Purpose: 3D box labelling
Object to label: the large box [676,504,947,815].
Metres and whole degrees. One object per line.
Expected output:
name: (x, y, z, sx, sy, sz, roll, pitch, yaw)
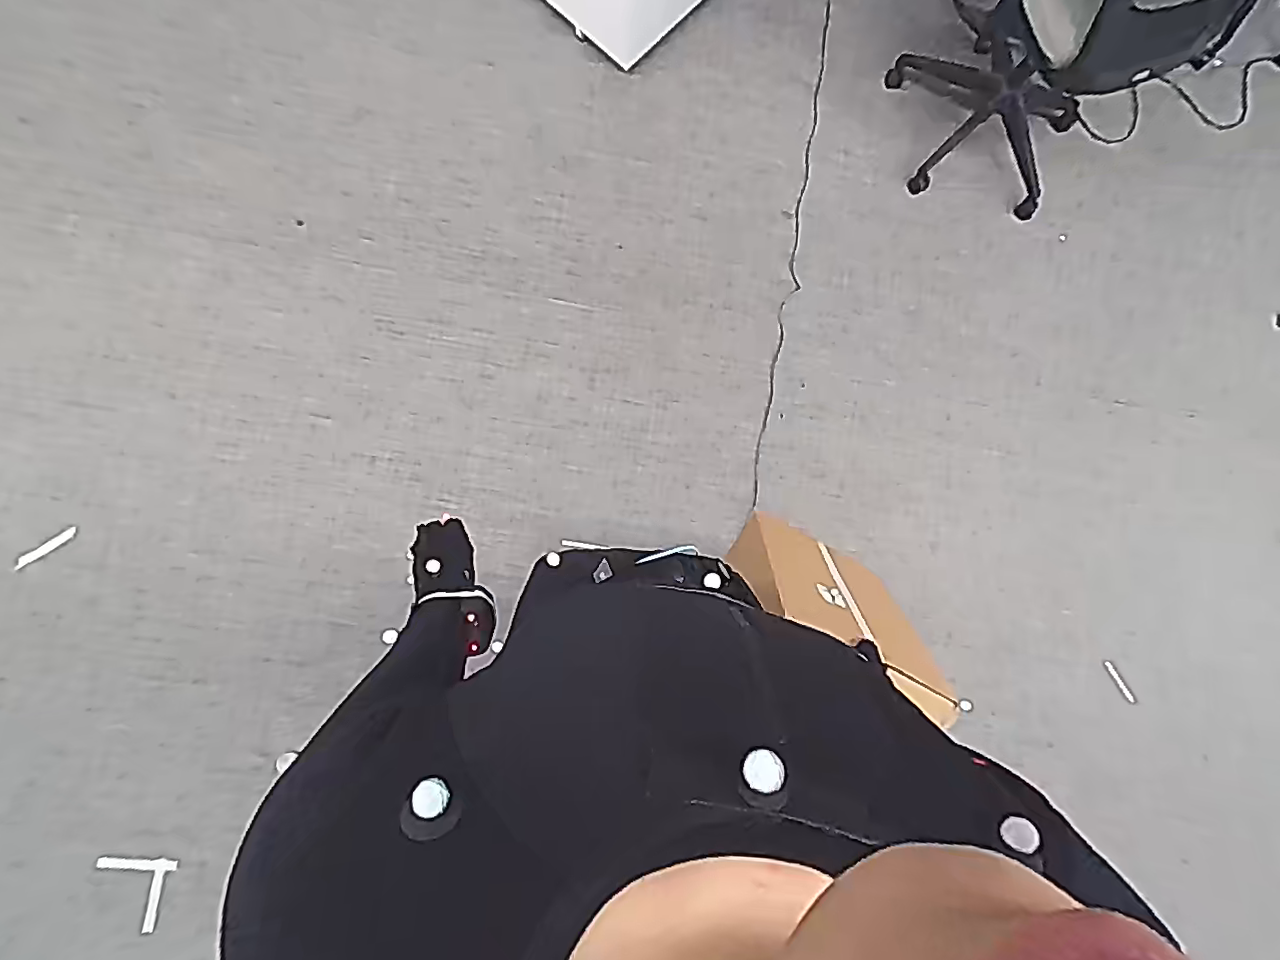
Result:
large box: (0.277, 0.311, 1.033, 0.320, 0.408, 0.320, 28, 111, -4)
